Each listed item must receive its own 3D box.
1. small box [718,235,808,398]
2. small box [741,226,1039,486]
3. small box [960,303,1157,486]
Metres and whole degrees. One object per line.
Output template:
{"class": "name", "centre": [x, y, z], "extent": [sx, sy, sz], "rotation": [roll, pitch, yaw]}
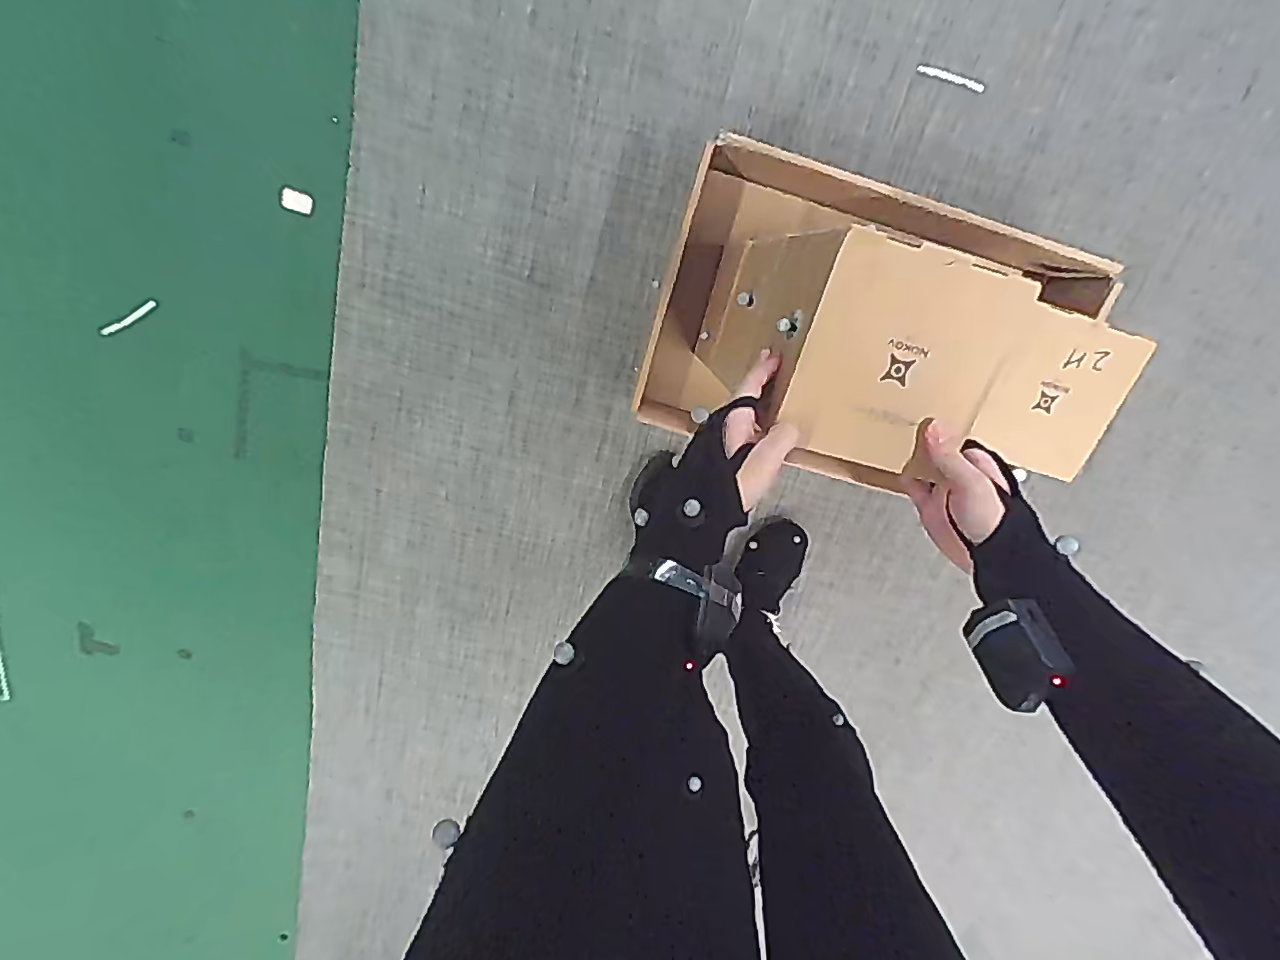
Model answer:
{"class": "small box", "centre": [0.205, -0.180, 0.663], "extent": [0.168, 0.176, 0.179], "rotation": [14, 109, -6]}
{"class": "small box", "centre": [0.208, -0.121, 0.512], "extent": [0.168, 0.176, 0.179], "rotation": [14, 111, -6]}
{"class": "small box", "centre": [0.466, -0.120, 0.687], "extent": [0.168, 0.176, 0.179], "rotation": [16, 109, -5]}
